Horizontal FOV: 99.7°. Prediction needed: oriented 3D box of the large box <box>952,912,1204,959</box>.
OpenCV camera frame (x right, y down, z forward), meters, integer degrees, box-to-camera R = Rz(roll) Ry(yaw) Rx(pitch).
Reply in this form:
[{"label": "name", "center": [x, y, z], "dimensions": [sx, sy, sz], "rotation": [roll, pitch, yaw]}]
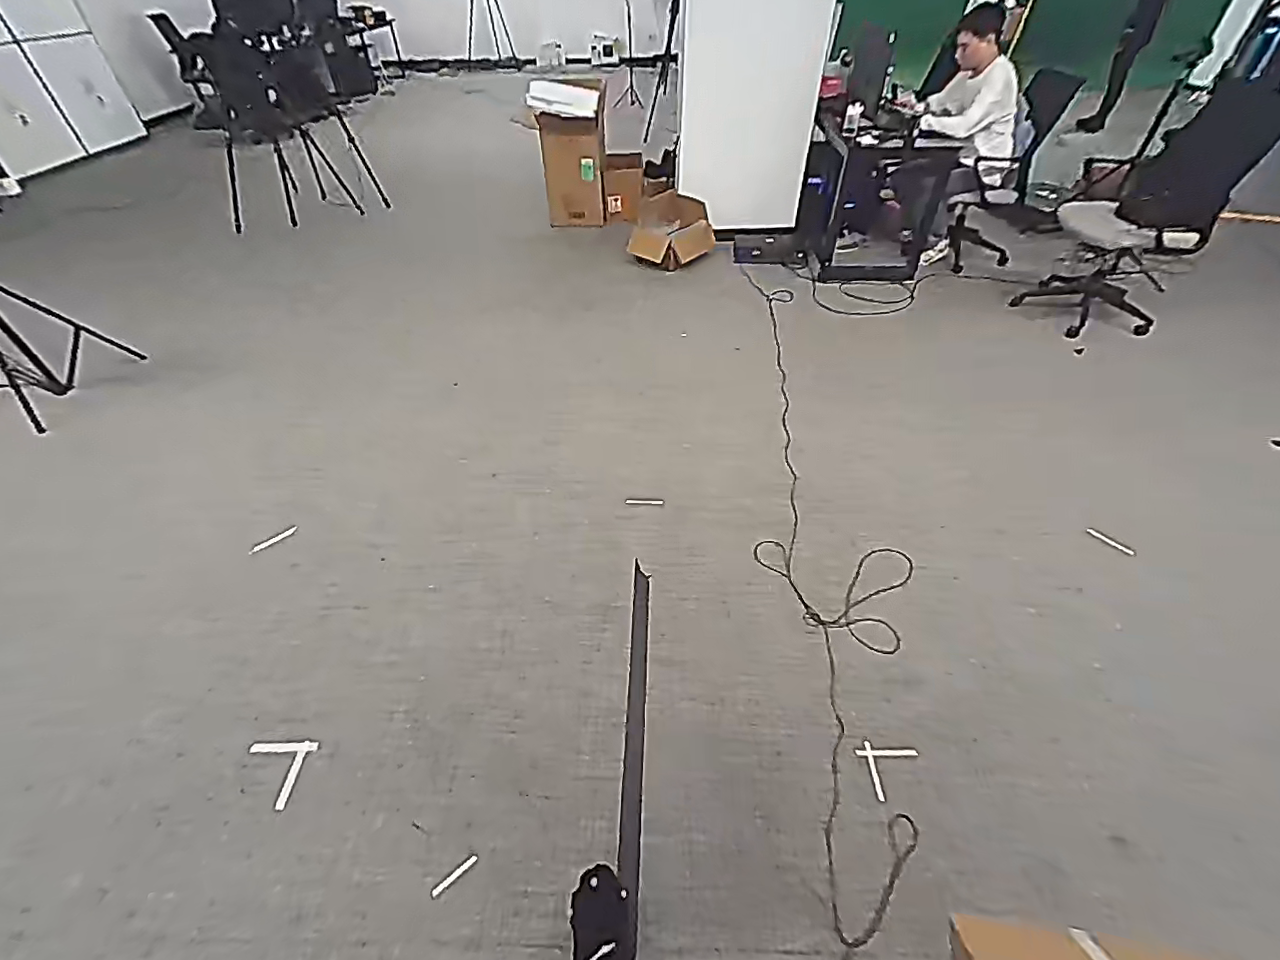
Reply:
[{"label": "large box", "center": [0.542, 0.739, 0.528], "dimensions": [0.320, 0.408, 0.320], "rotation": [1, 81, 13]}]
